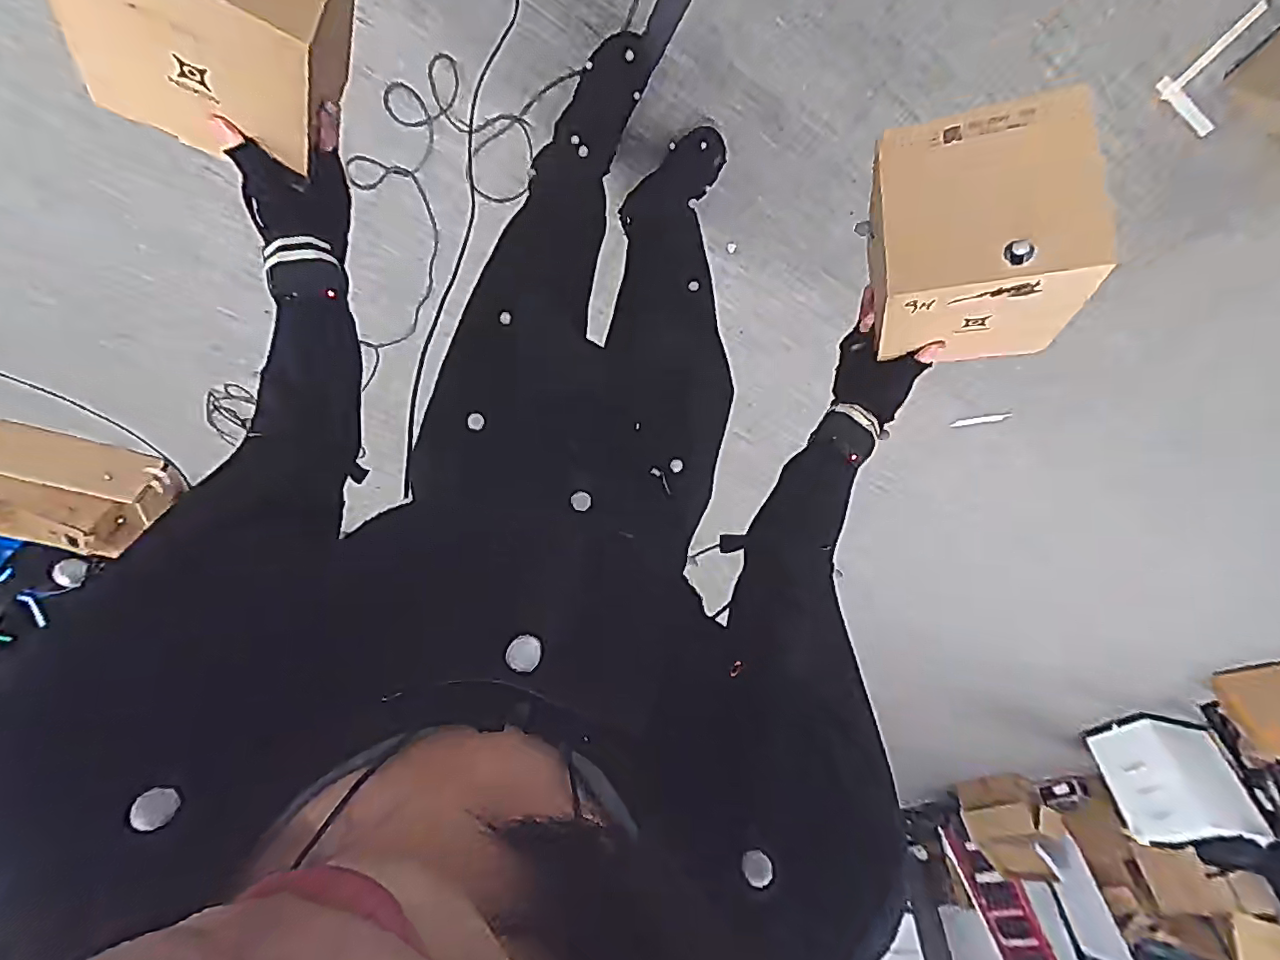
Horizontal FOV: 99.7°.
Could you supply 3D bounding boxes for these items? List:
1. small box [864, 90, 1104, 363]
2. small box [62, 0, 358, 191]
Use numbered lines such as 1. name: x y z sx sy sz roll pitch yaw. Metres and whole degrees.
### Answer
1. small box: 0.323 -0.236 0.546 0.168 0.176 0.179 -3 167 19
2. small box: -0.355 -0.409 0.471 0.168 0.176 0.179 15 159 -27
